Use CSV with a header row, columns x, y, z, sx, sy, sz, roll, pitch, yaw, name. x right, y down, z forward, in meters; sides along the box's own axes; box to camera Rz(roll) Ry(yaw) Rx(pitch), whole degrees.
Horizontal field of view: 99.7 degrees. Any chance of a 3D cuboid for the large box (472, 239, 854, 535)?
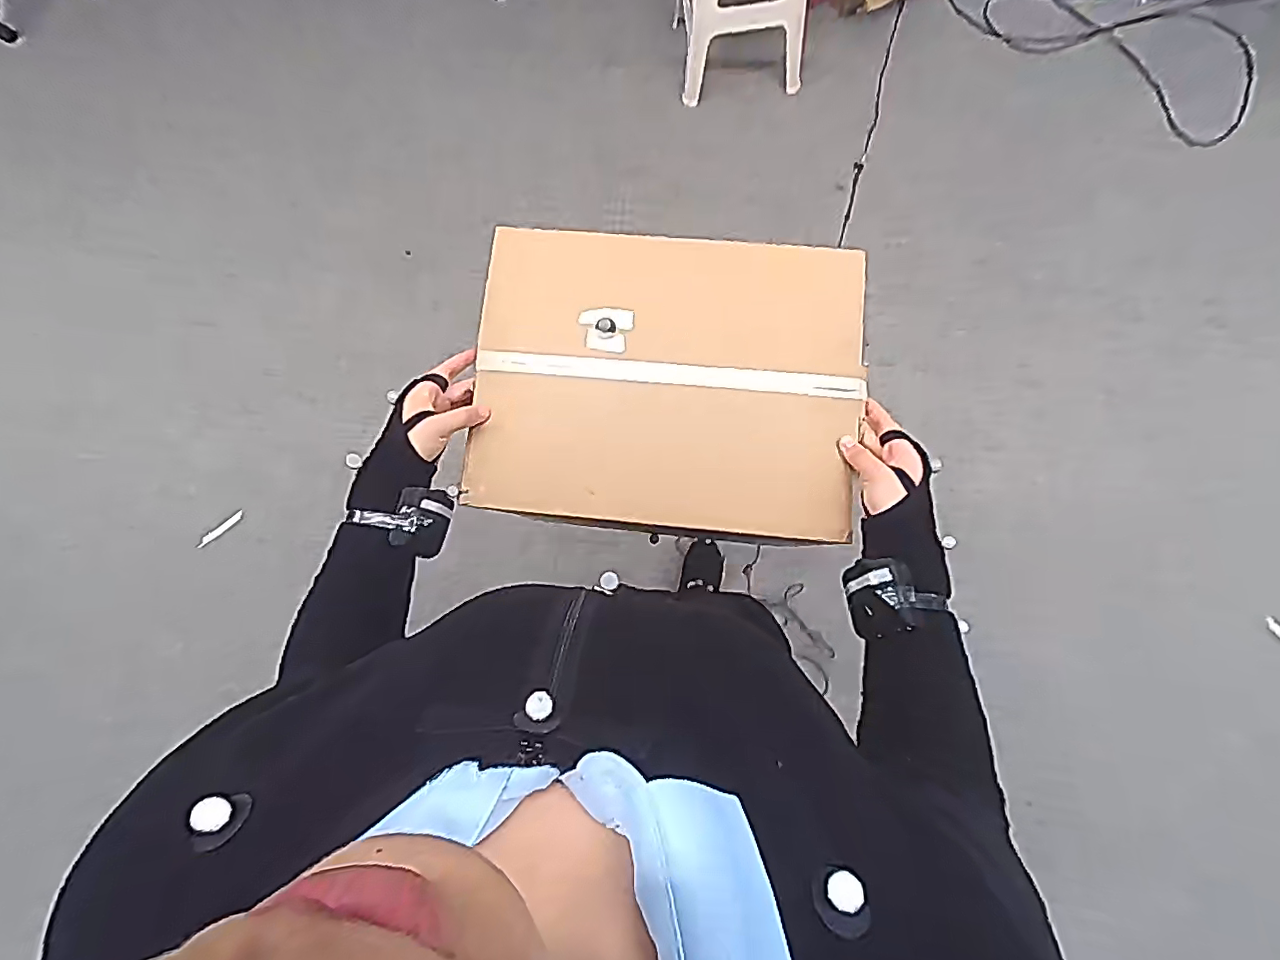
x,y,z,sx,sy,sz,roll,pitch,yaw,name
0.038,-0.093,0.731,0.408,0.320,0.320,4,81,4,large box
